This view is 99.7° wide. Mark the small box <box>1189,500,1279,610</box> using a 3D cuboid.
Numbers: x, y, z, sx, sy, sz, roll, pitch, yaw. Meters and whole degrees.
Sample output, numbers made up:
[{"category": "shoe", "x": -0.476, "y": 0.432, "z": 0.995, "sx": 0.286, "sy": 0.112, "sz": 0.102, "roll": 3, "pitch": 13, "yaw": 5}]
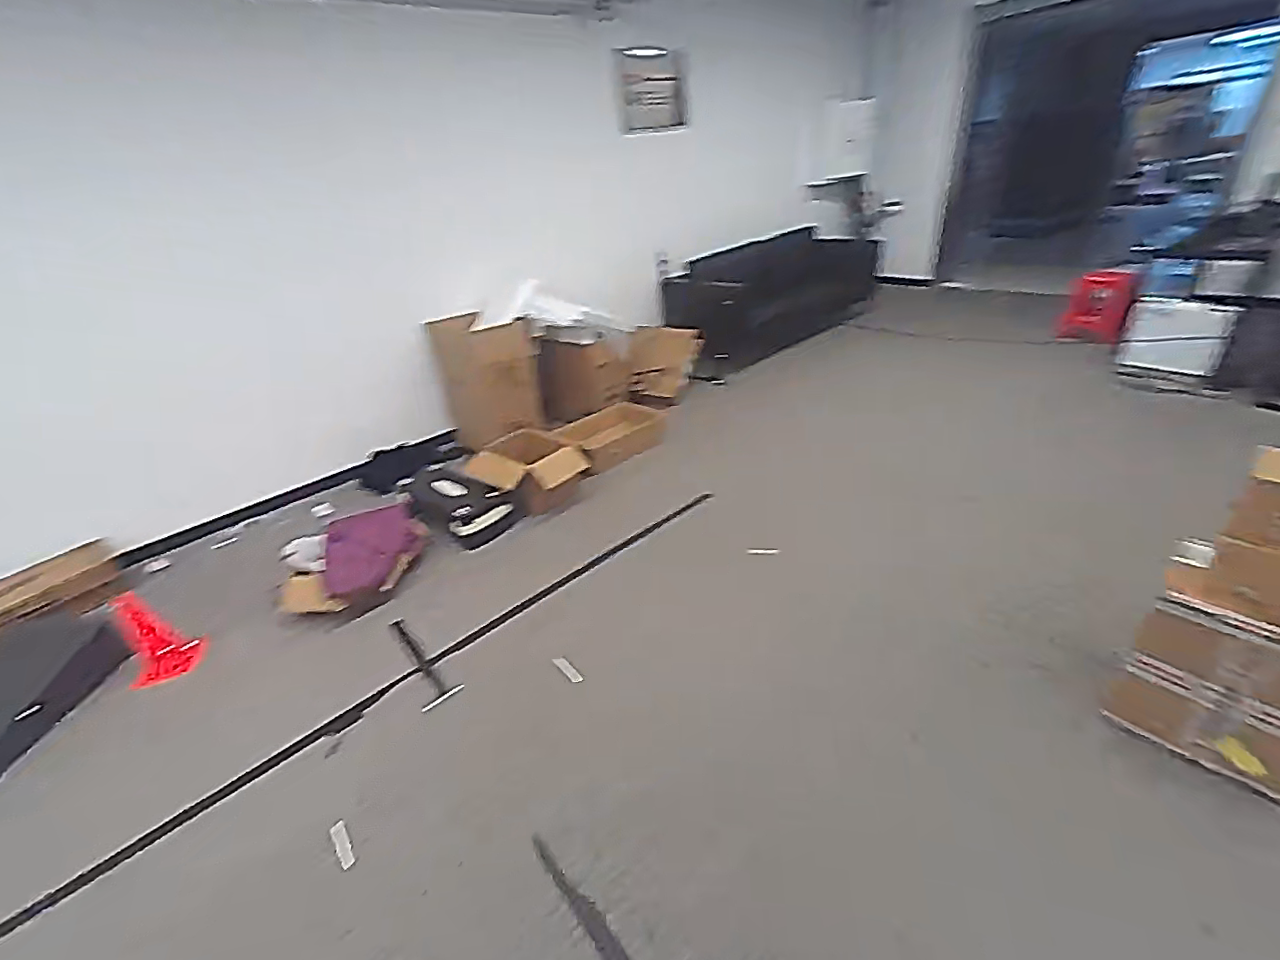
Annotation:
[{"category": "small box", "x": 1.493, "y": 0.181, "z": 1.321, "sx": 0.179, "sy": 0.176, "sz": 0.168, "roll": -33, "pitch": 38, "yaw": -32}]

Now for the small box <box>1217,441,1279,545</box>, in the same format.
[{"category": "small box", "x": 1.480, "y": 0.038, "z": 1.242, "sx": 0.179, "sy": 0.176, "sz": 0.168, "roll": -32, "pitch": 37, "yaw": -30}]
